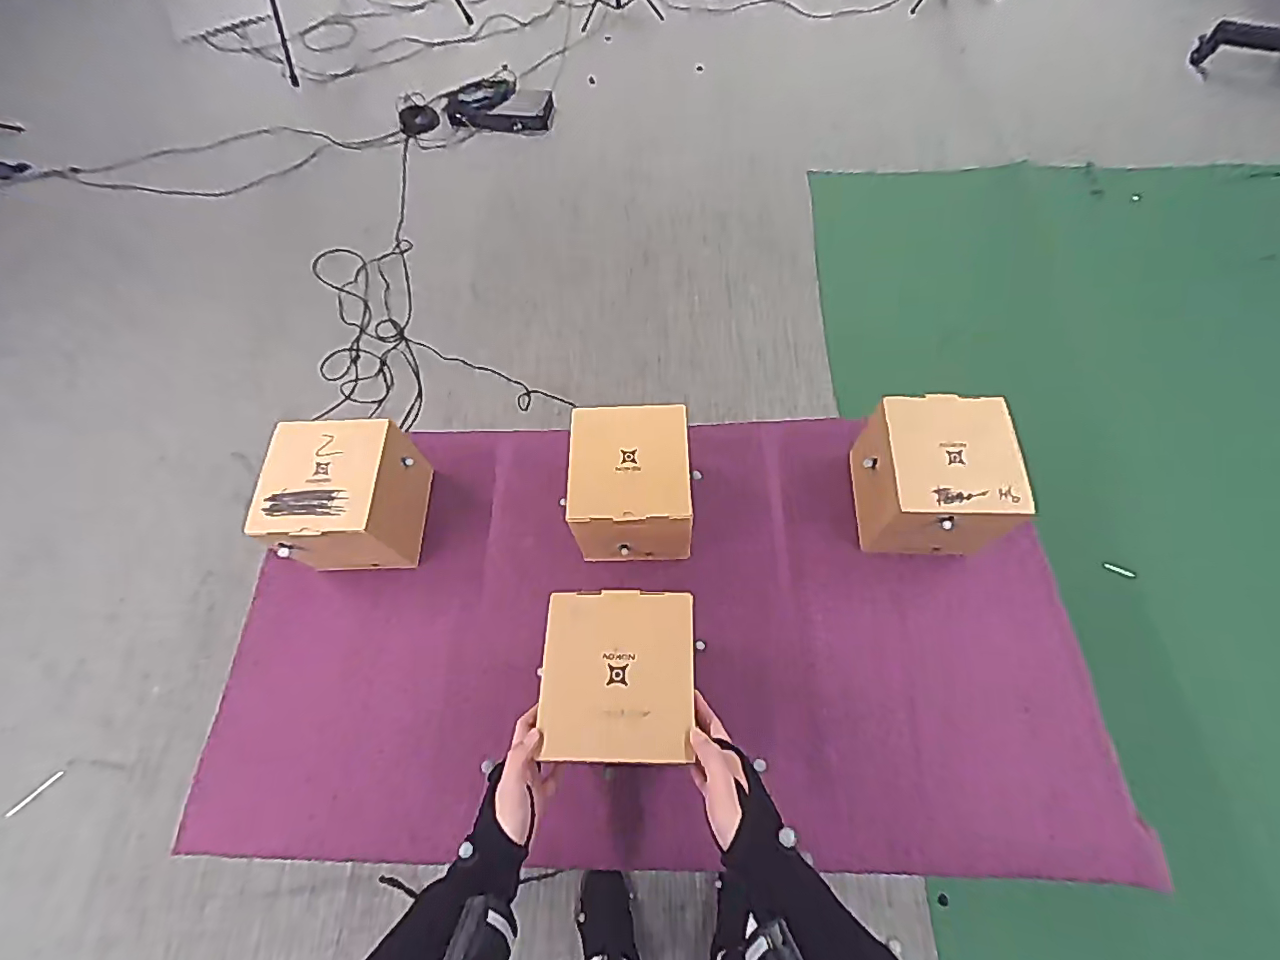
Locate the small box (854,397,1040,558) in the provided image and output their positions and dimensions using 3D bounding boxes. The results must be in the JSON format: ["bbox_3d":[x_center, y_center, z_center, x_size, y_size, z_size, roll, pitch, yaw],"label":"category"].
[{"bbox_3d":[0.422,0.000,0.780,0.168,0.176,0.179,1,64,5],"label":"small box"}]

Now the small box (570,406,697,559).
[{"bbox_3d":[-0.007,0.008,0.799,0.168,0.176,0.179,-2,65,1],"label":"small box"}]

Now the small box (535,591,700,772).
[{"bbox_3d":[-0.016,0.242,0.640,0.168,0.176,0.179,0,61,4],"label":"small box"}]
